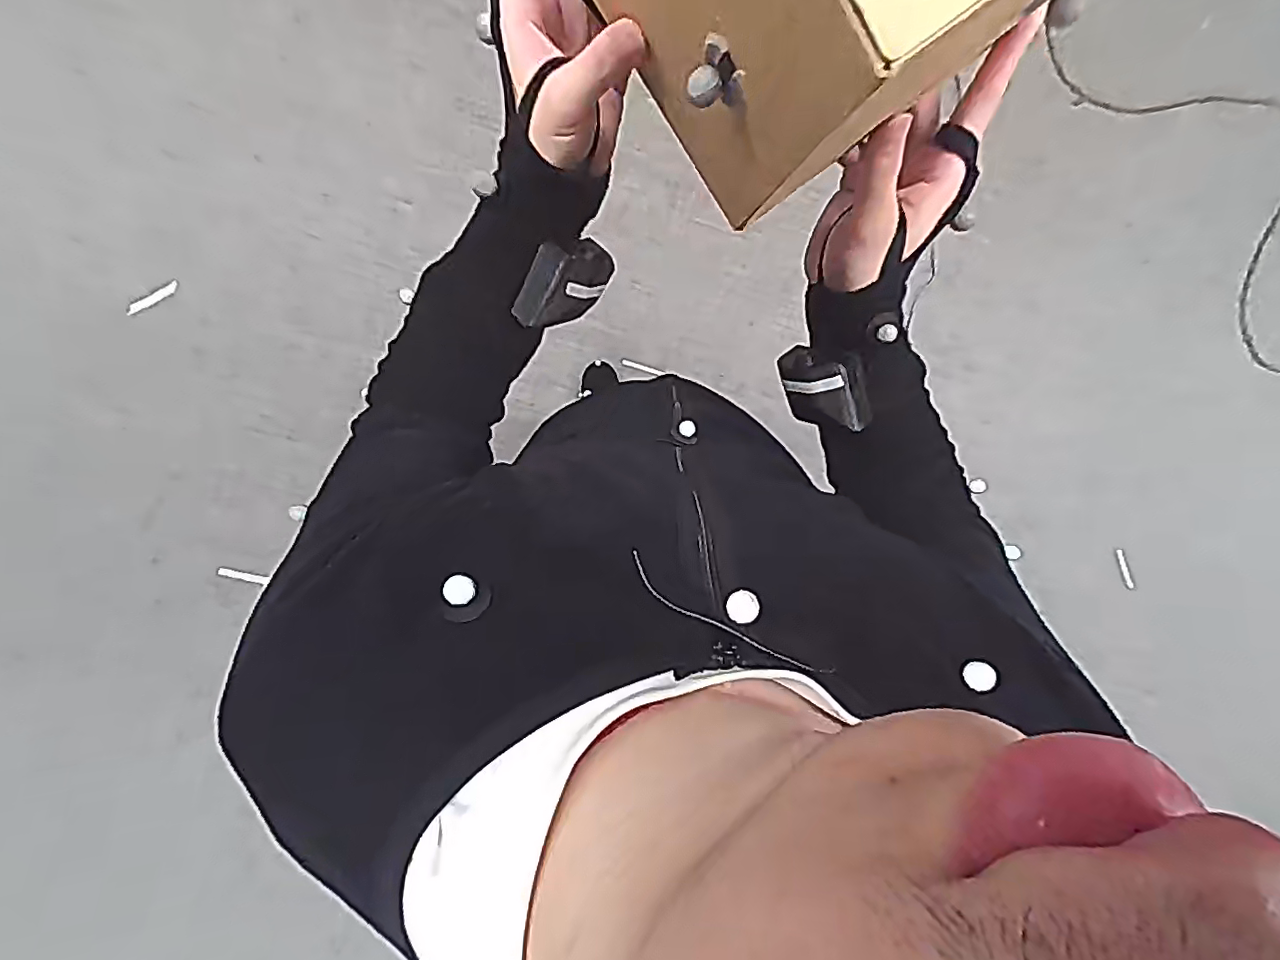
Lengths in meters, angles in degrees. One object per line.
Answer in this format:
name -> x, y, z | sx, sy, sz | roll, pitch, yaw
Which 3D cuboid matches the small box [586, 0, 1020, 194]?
small box -> 0.068, -0.238, 0.200 | 0.168, 0.176, 0.179 | -36, 101, 4
